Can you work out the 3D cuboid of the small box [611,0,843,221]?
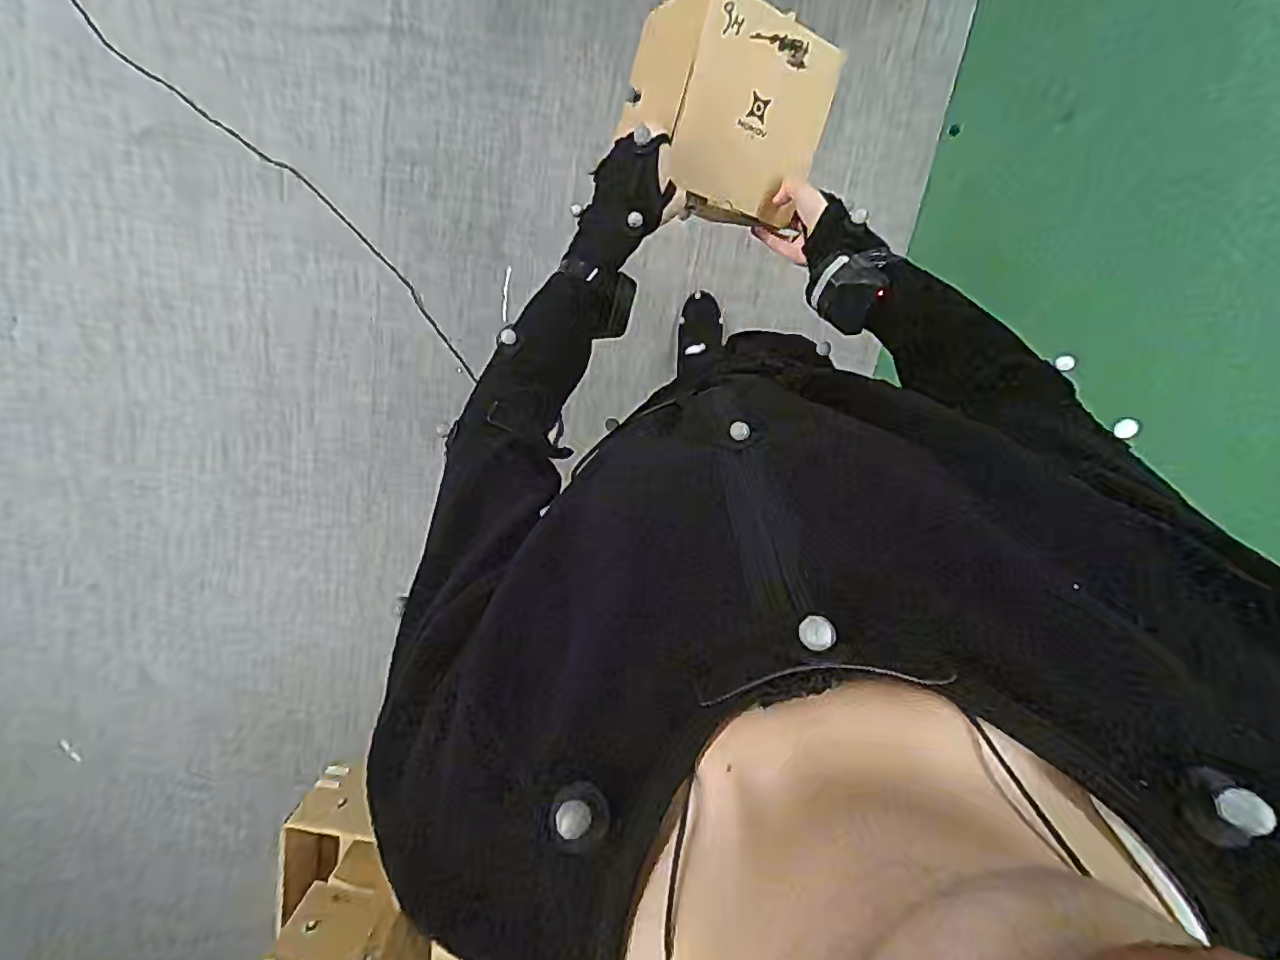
[{"bbox_3d":[0.080,-0.411,0.602,0.168,0.176,0.179,5,116,-27],"label":"small box"}]

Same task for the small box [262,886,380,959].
[{"bbox_3d":[-0.654,0.977,1.094,0.168,0.176,0.179,17,103,-1],"label":"small box"}]
